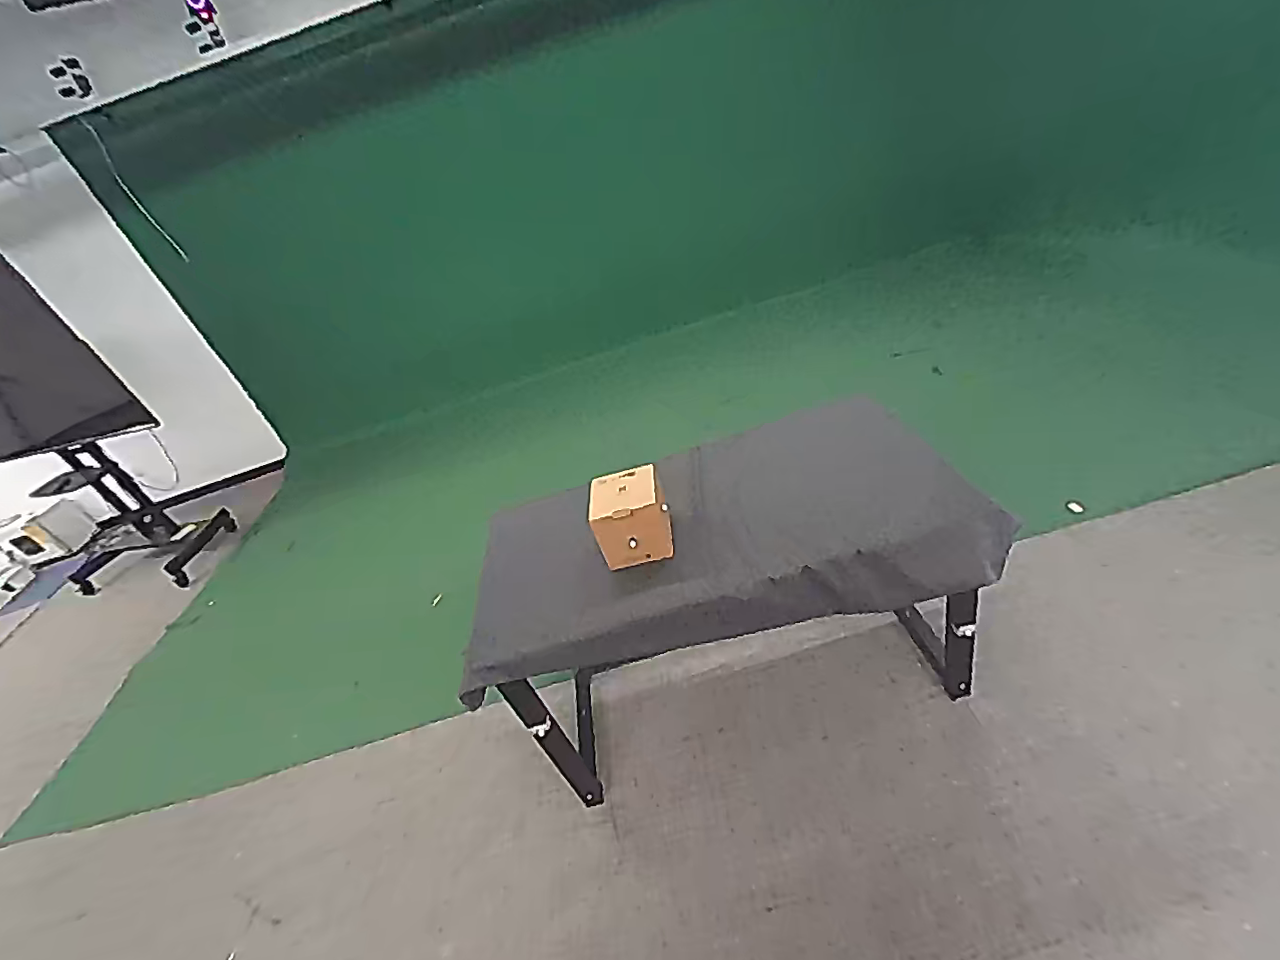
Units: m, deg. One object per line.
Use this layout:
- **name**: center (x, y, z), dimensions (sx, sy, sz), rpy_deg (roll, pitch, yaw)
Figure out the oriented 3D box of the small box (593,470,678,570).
- **small box**: center (-0.011, 0.107, 1.359), dimensions (0.168, 0.176, 0.179), rpy_deg (-17, 32, 6)
